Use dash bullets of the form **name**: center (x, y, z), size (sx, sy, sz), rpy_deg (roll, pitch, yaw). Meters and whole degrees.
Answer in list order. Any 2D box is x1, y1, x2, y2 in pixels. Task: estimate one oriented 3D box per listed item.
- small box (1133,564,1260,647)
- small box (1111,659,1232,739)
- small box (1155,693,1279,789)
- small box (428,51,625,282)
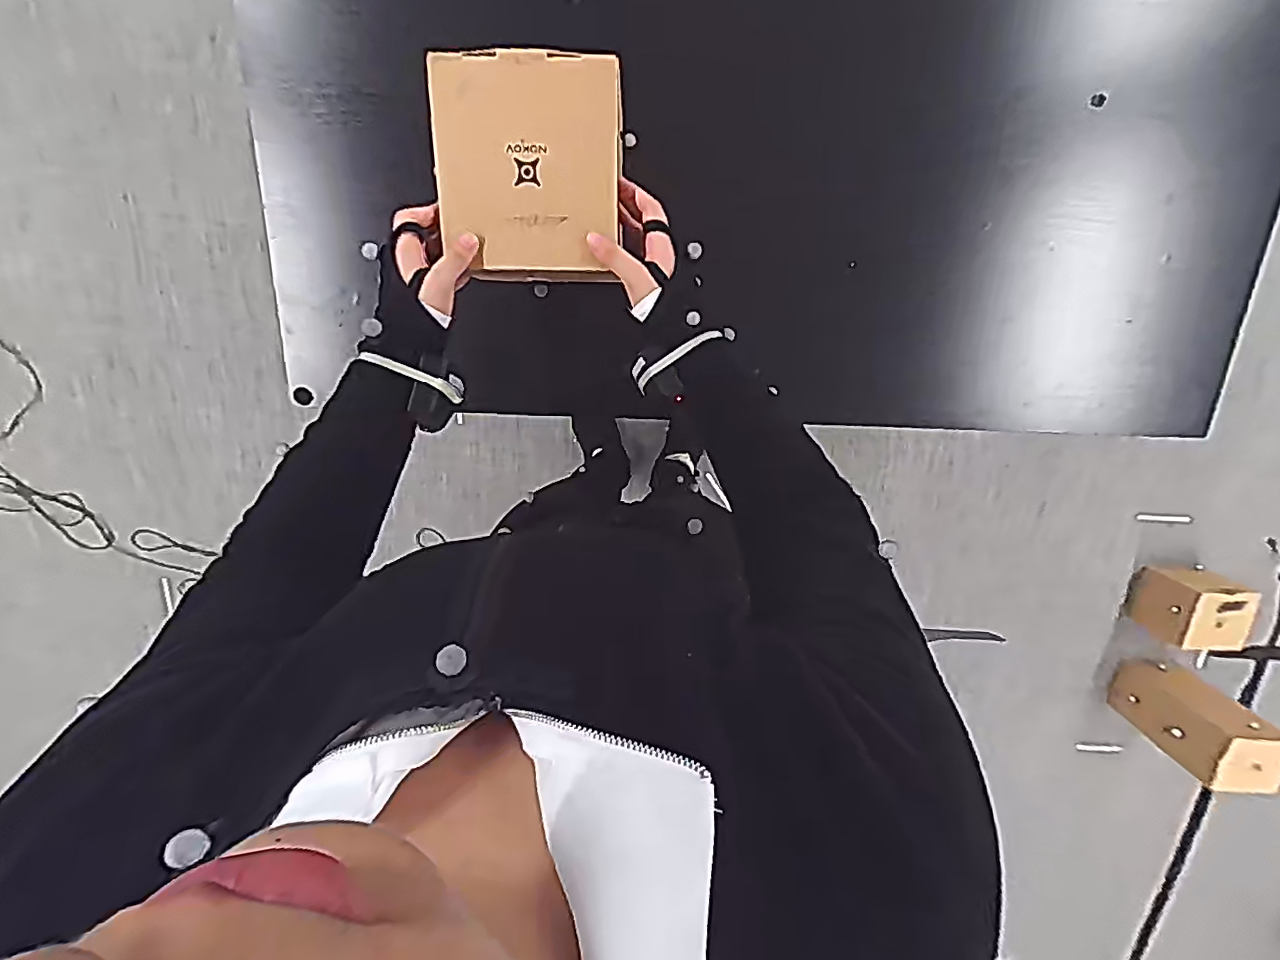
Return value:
- **small box**: center (1.551, 0.347, 1.521), size (0.168, 0.176, 0.179), rpy_deg (1, 107, 0)
- **small box**: center (1.574, 0.653, 1.615), size (0.179, 0.176, 0.168), rpy_deg (2, 106, 0)
- **small box**: center (1.567, 0.697, 1.455), size (0.179, 0.176, 0.168), rpy_deg (4, 106, -1)
- **small box**: center (-0.102, -0.306, 0.563), size (0.168, 0.176, 0.179), rpy_deg (0, 107, 1)
